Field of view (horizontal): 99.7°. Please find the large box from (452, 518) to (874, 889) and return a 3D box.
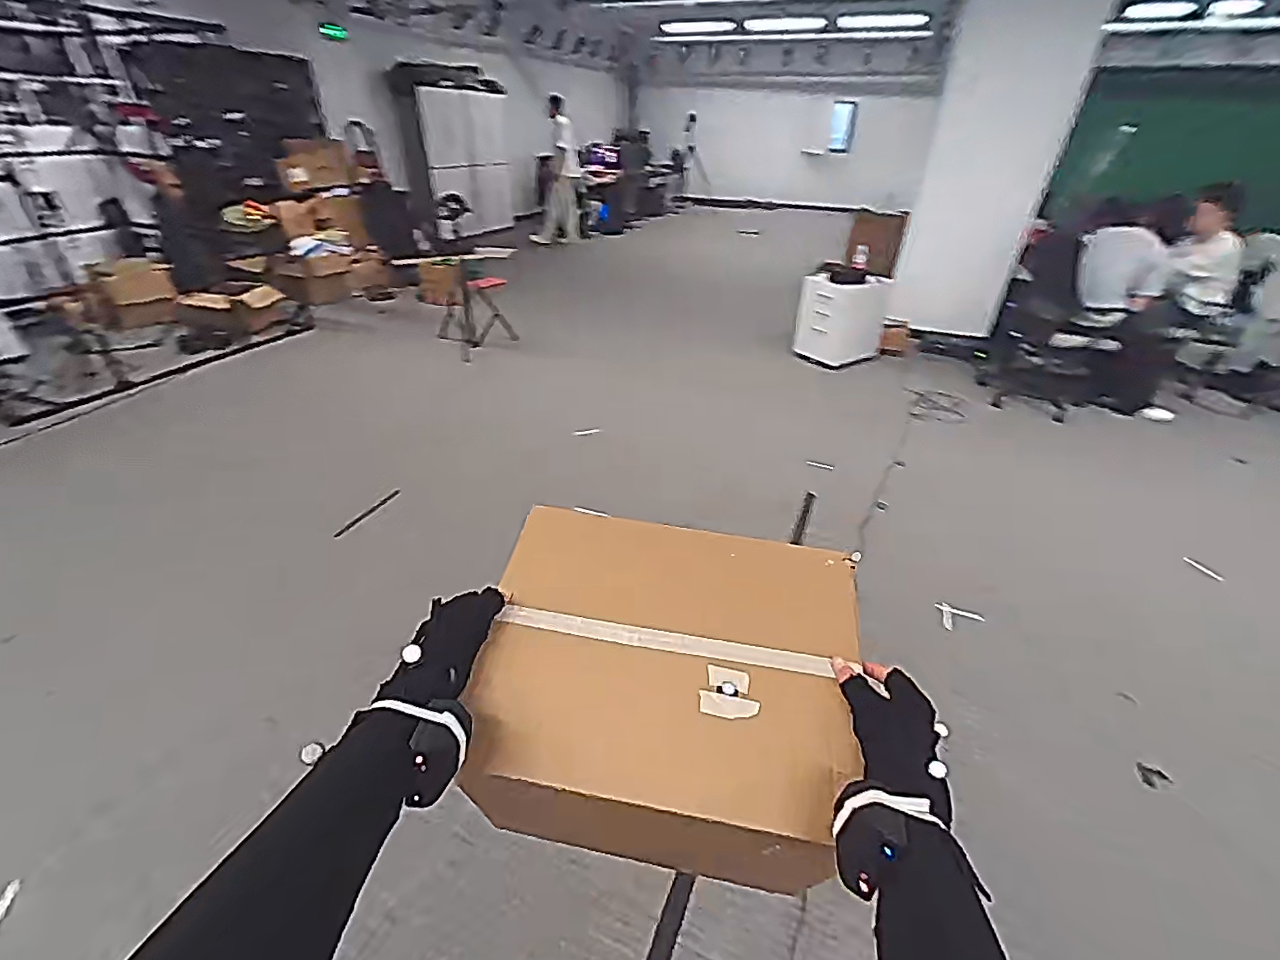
[{"bbox_3d":[0.034,0.286,0.703,0.408,0.320,0.320,9,48,6],"label":"large box"}]
